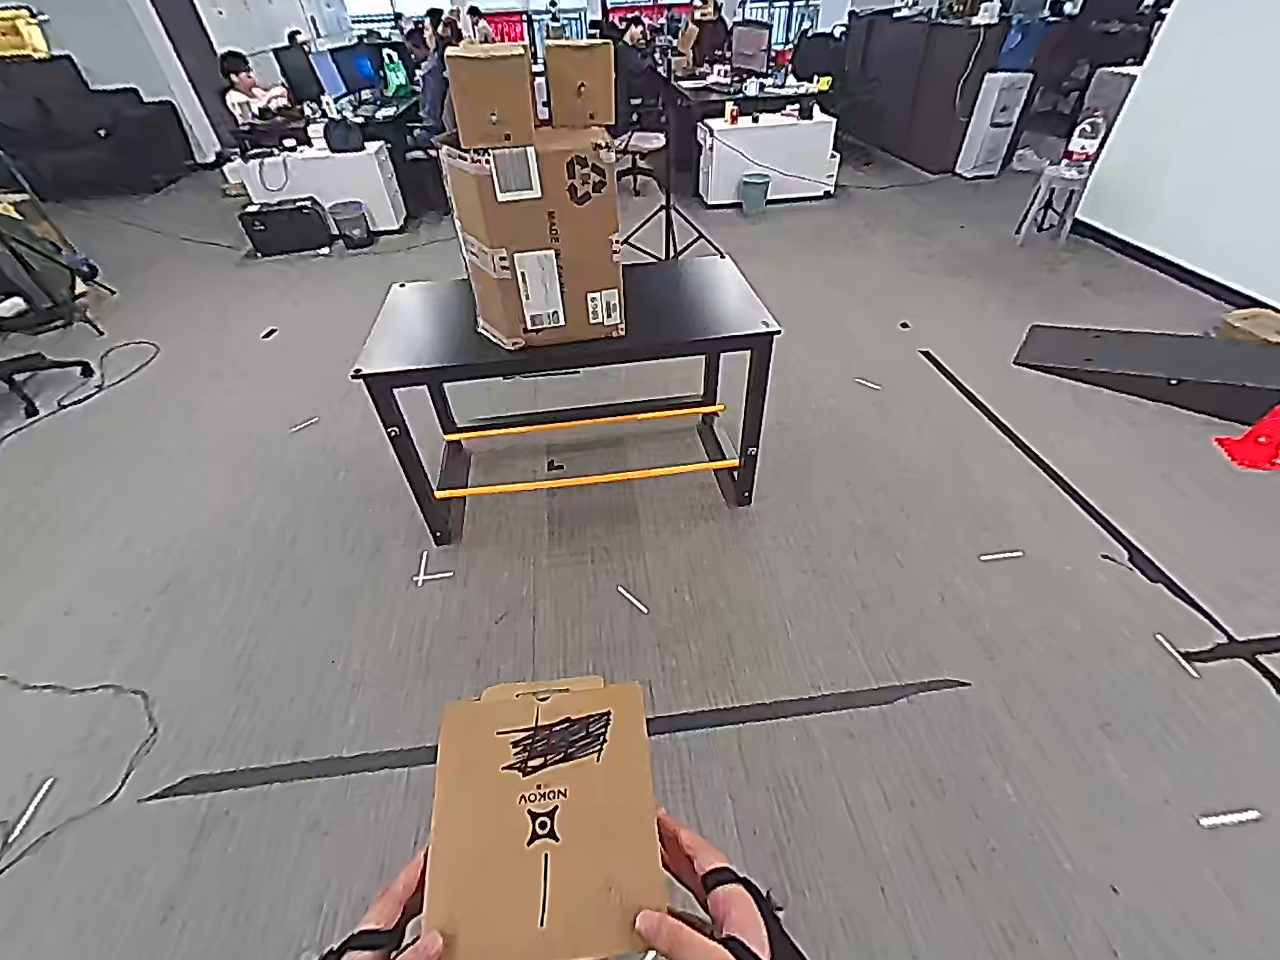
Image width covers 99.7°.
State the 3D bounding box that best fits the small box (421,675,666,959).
[{"bbox_3d":[-0.073,0.292,0.472,0.168,0.176,0.179,-5,52,-5],"label":"small box"}]

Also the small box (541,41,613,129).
[{"bbox_3d":[-0.163,-1.026,1.407,0.168,0.176,0.179,-7,43,-8],"label":"small box"}]

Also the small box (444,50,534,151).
[{"bbox_3d":[-0.337,-0.860,1.226,0.168,0.176,0.179,-8,44,-9],"label":"small box"}]
